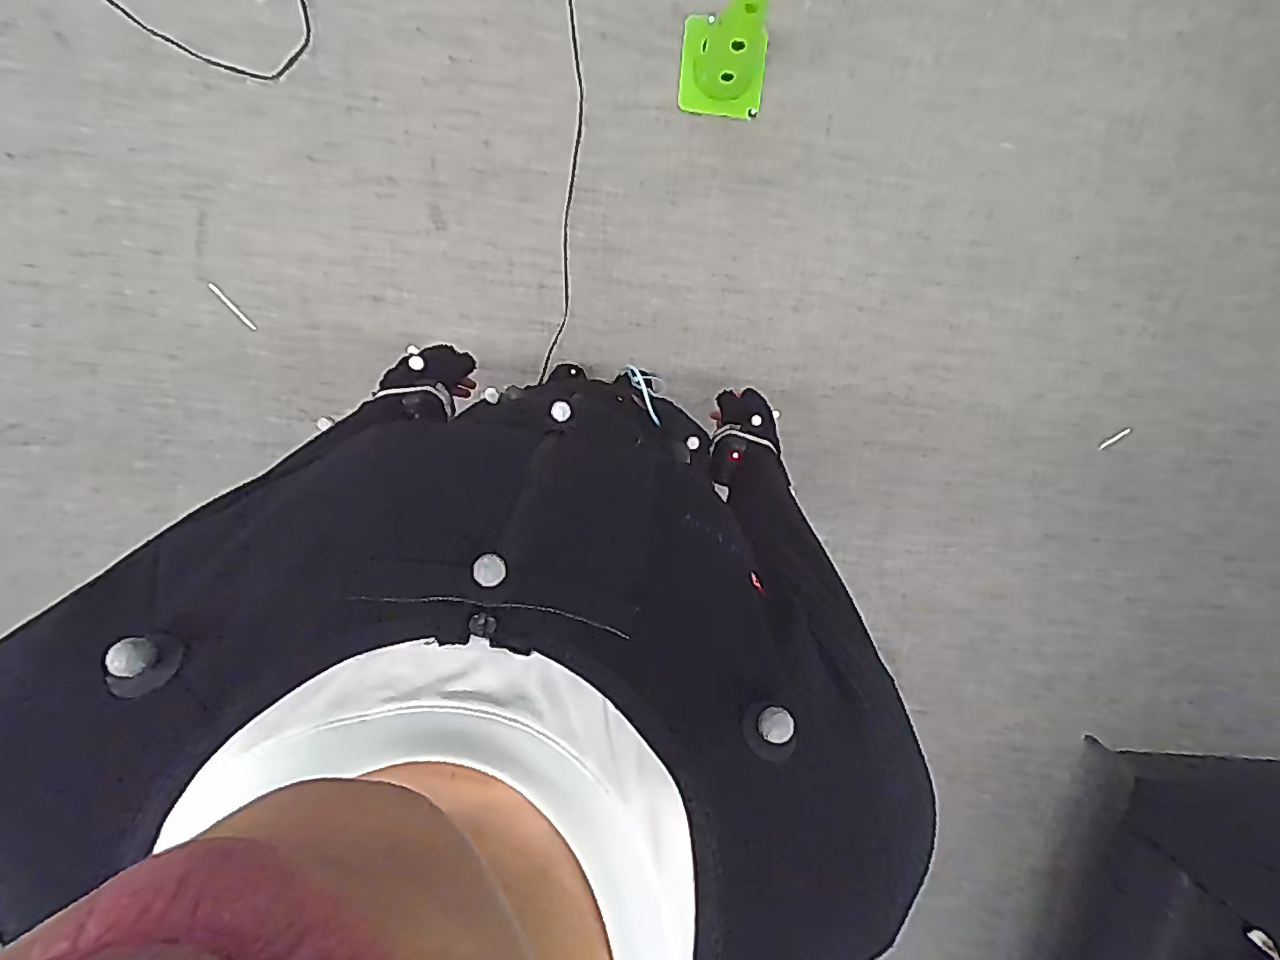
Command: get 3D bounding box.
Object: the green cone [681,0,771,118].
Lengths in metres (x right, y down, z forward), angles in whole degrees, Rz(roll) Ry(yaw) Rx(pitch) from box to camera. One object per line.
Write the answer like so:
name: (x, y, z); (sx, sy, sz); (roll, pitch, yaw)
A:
green cone: (0.209, -0.943, 1.116); (0.202, 0.368, 0.200); (4, 102, -3)
